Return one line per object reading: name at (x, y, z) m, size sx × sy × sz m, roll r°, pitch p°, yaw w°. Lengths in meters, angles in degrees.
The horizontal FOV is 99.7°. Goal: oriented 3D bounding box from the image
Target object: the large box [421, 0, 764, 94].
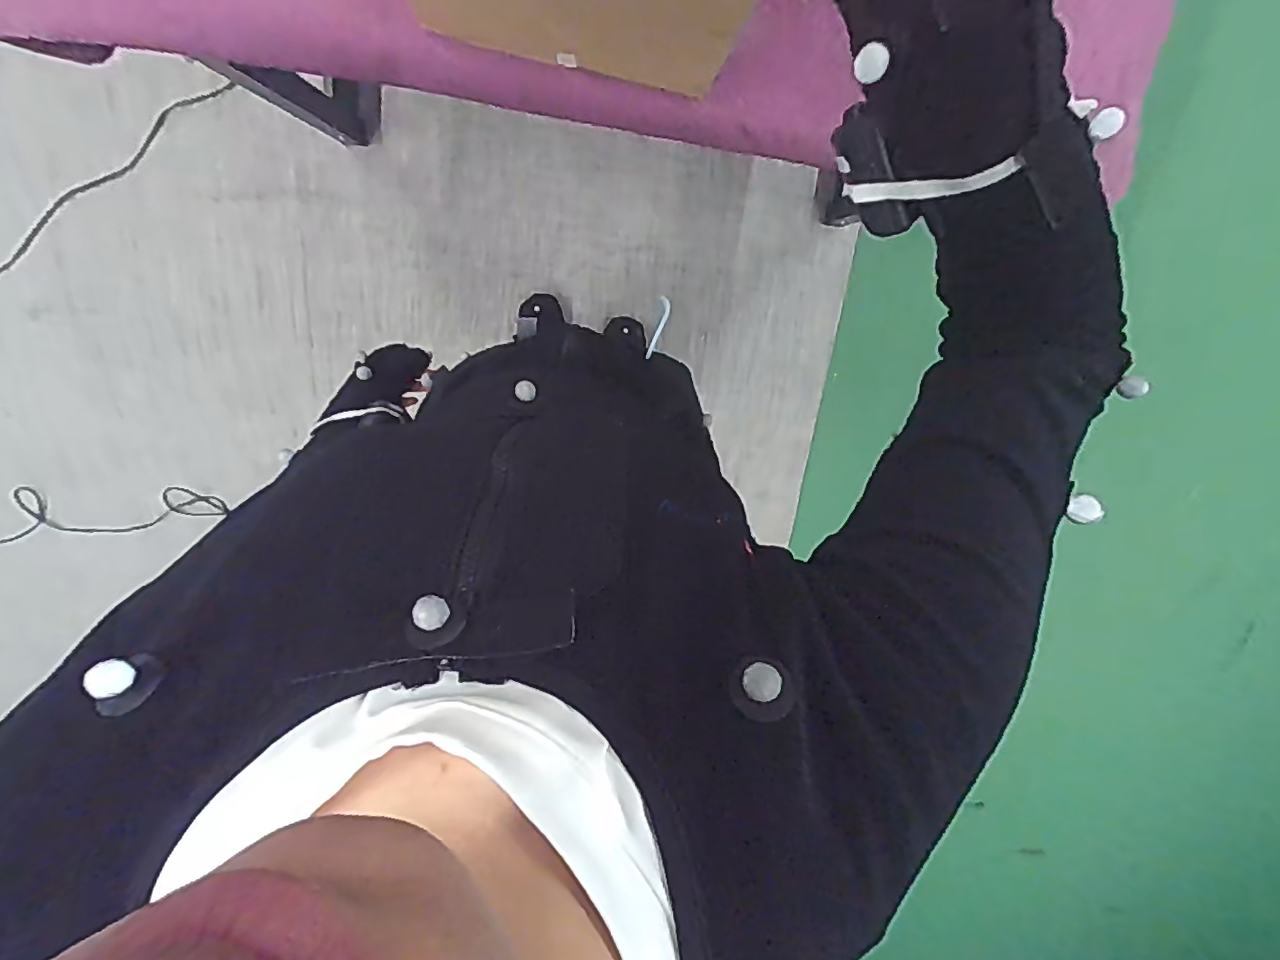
large box at (-0.026, -0.597, 0.399) m, size 0.320 × 0.320 × 0.408 m, roll 8°, pitch 109°, yaw -8°
